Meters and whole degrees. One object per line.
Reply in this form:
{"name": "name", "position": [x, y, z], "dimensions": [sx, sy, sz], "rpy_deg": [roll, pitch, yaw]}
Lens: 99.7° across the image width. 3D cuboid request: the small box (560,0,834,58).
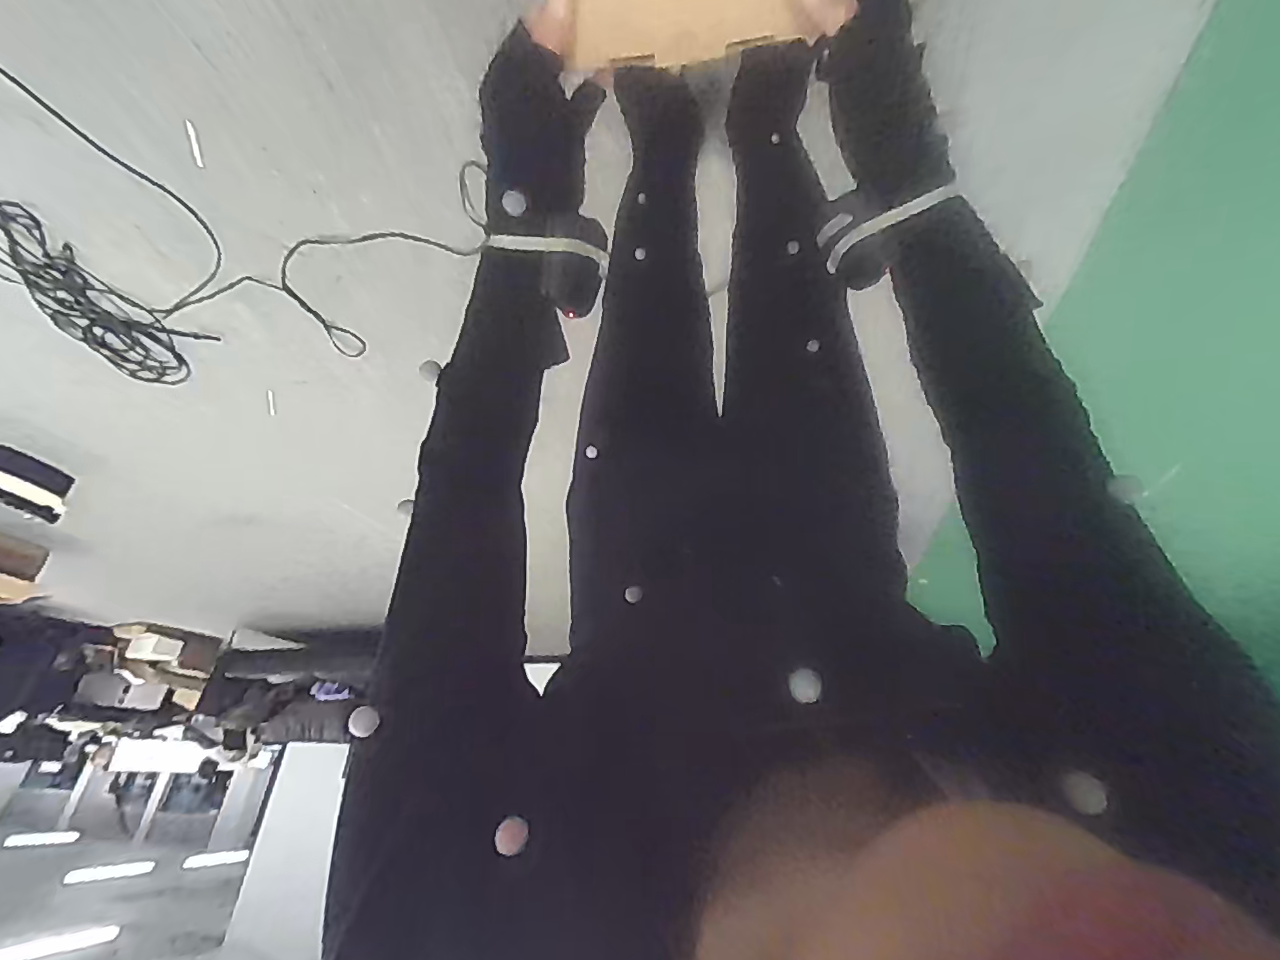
{"name": "small box", "position": [0.030, -0.388, 0.340], "dimensions": [0.168, 0.176, 0.179], "rpy_deg": [-3, 131, 7]}
